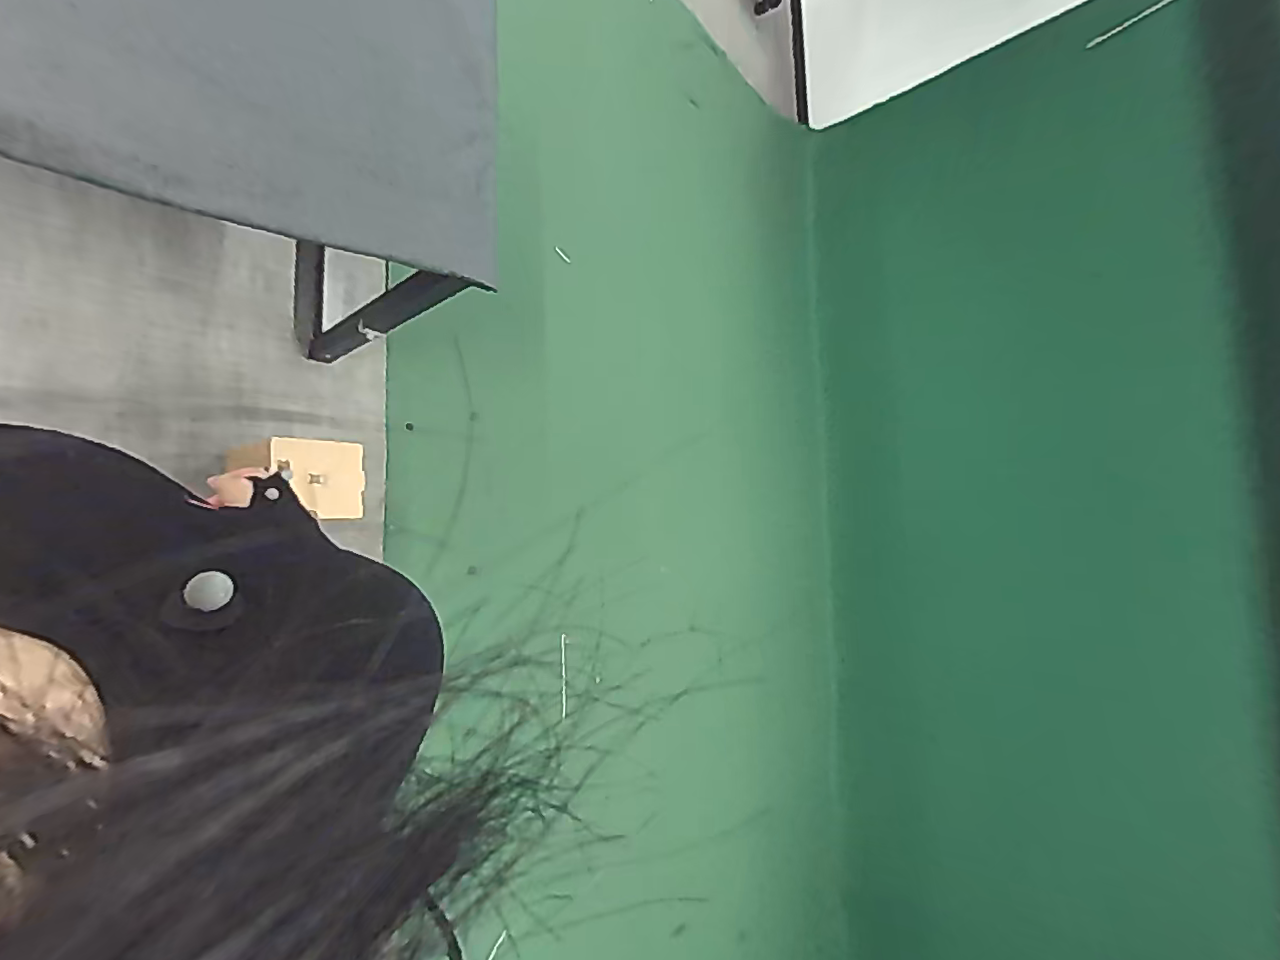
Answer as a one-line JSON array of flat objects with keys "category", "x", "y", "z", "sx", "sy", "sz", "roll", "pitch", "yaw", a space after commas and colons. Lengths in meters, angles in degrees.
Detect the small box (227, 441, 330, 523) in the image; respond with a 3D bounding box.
[{"category": "small box", "x": -0.841, "y": 0.009, "z": 1.258, "sx": 0.168, "sy": 0.176, "sz": 0.179, "roll": 2, "pitch": 84, "yaw": -49}]
